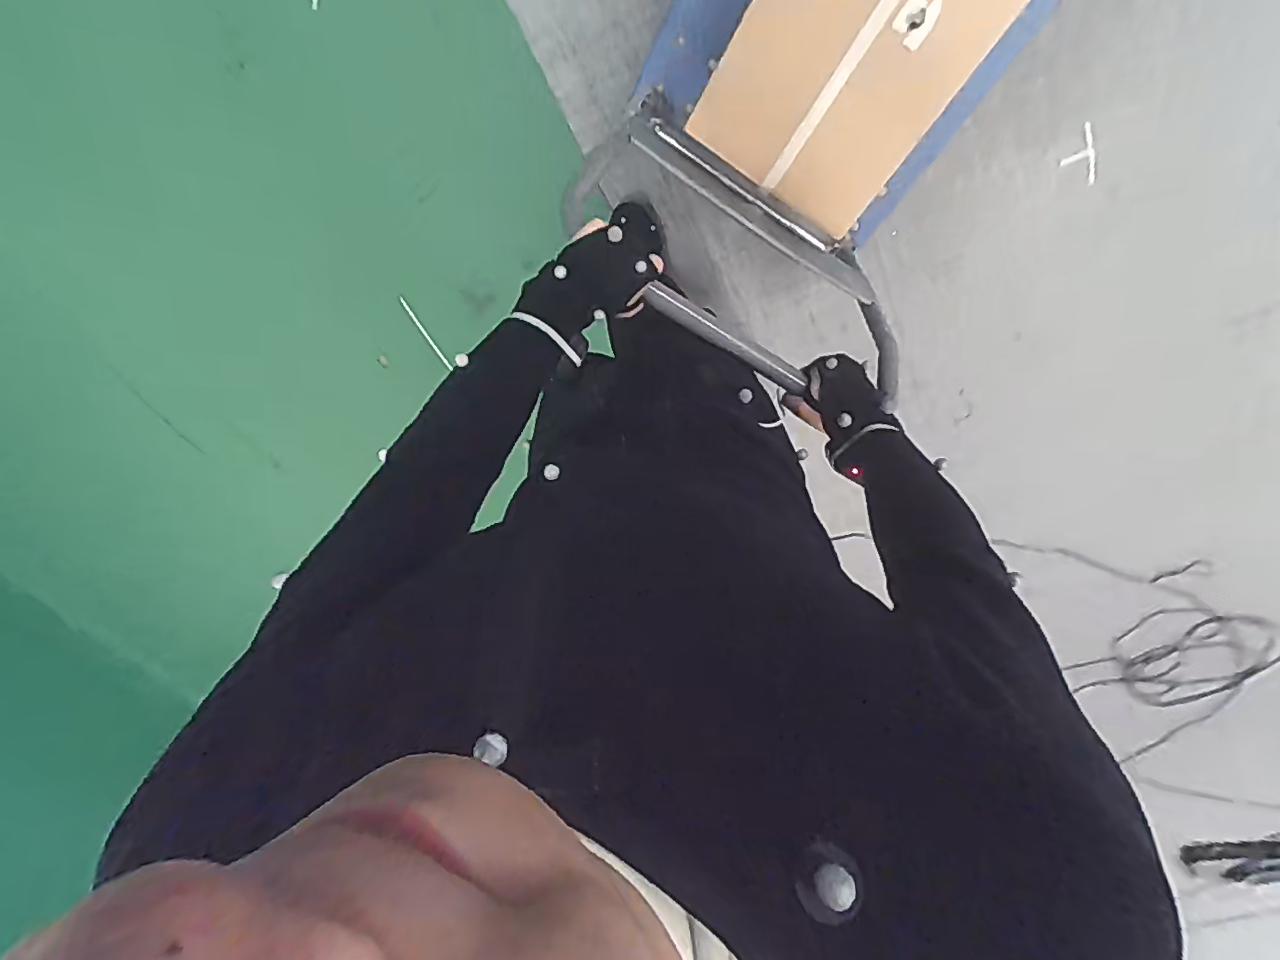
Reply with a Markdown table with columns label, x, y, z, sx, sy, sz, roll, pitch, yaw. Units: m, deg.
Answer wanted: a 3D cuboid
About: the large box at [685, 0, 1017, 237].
| label | x | y | z | sx | sy | sz | roll | pitch | yaw |
| --- | --- | --- | --- | --- | --- | --- | --- | --- | --- |
| large box | 0.314 | -0.697 | 0.897 | 0.320 | 0.320 | 0.408 | 29 | 125 | -14 |
